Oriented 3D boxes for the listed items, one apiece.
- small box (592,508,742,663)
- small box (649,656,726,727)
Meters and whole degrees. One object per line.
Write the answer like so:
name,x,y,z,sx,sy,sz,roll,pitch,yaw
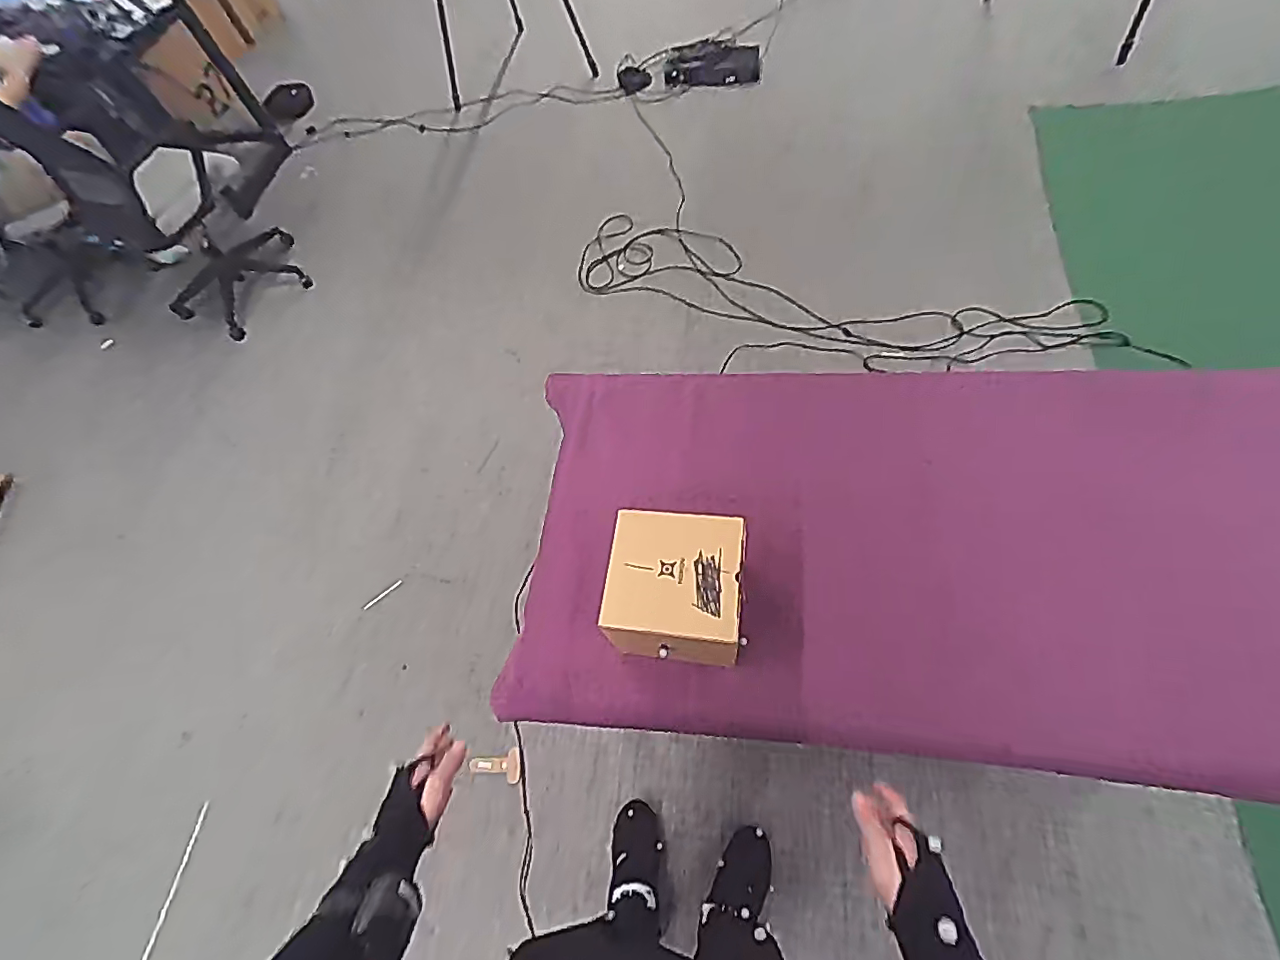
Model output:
small box,0.048,0.154,0.762,0.179,0.176,0.168,4,62,12
small box,0.128,0.532,1.383,0.179,0.176,0.168,1,63,10
